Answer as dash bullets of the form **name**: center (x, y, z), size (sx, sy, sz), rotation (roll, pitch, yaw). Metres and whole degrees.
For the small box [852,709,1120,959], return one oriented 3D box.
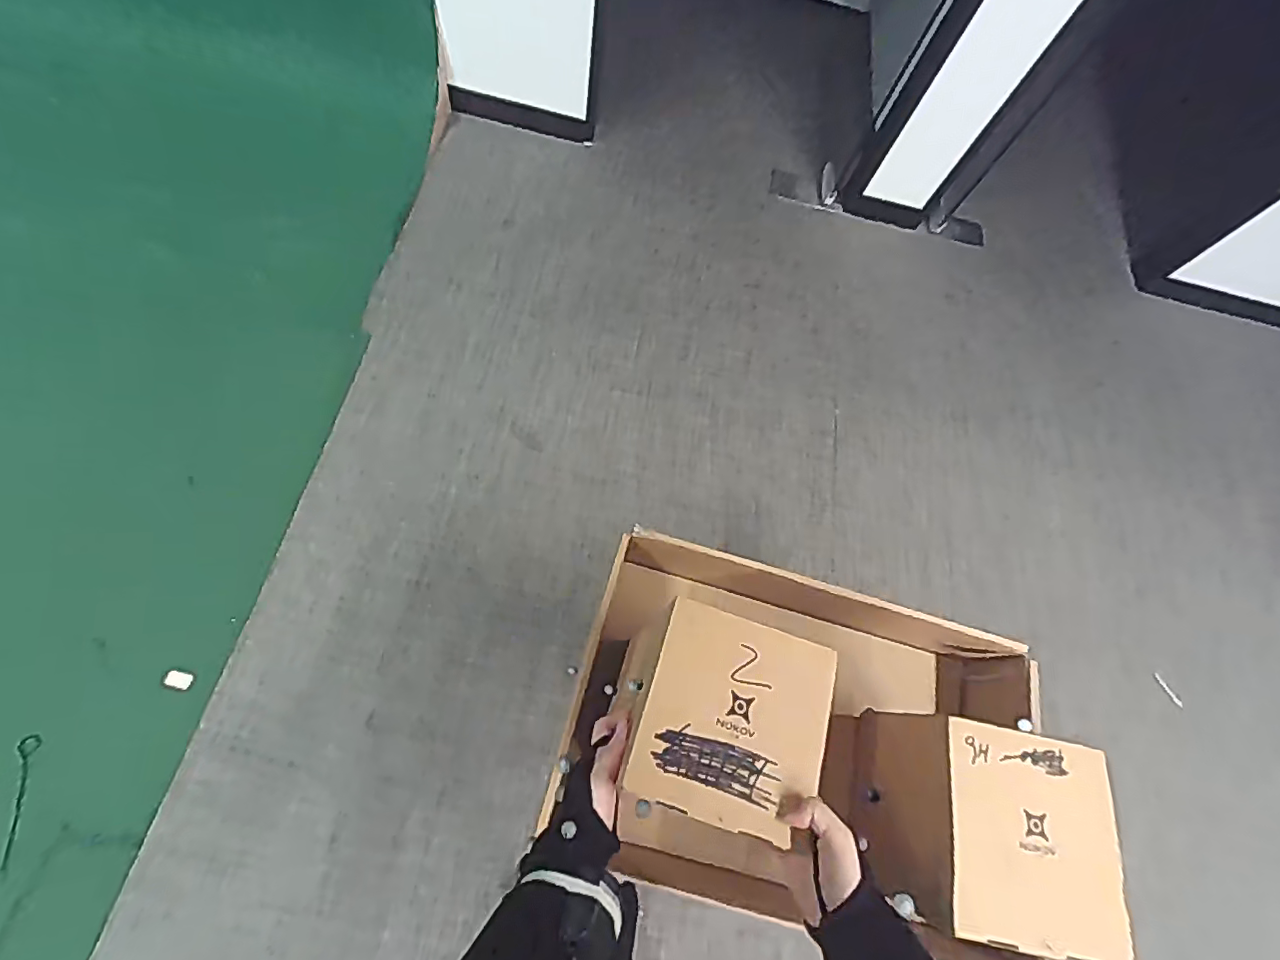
- **small box**: center (0.341, 0.352, 0.565), size (0.168, 0.176, 0.179), rotation (15, 68, -4)
